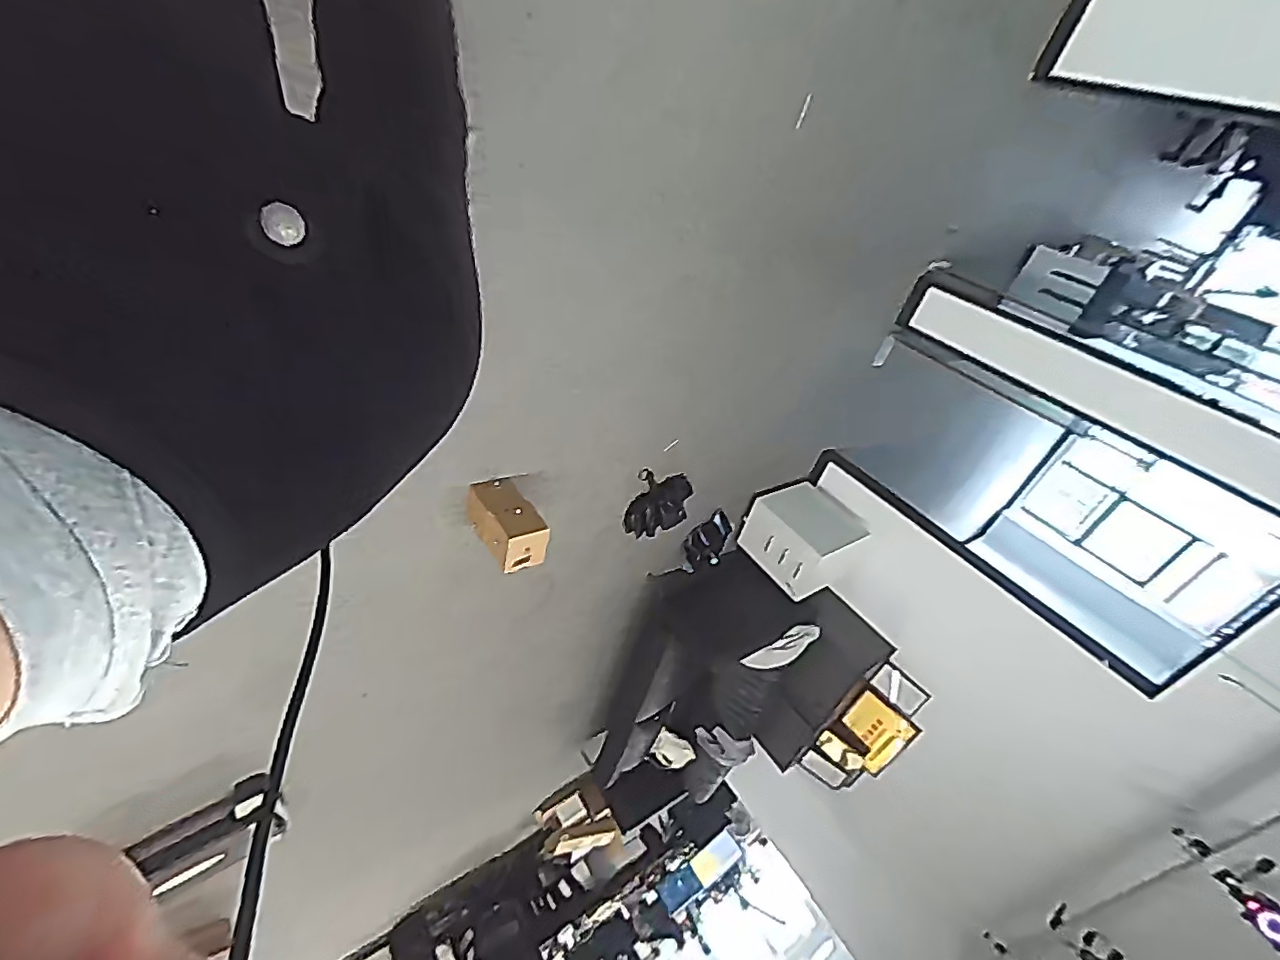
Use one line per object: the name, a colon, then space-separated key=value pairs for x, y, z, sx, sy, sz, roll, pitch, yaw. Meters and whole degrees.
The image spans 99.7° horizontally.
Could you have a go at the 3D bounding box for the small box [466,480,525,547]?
small box: x=-0.564 y=0.125 z=2.103 sx=0.168 sy=0.176 sz=0.179 roll=-16 pitch=135 yaw=-37

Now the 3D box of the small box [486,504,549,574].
small box: x=-0.461 y=0.215 z=2.013 sx=0.168 sy=0.176 sz=0.179 roll=-14 pitch=134 yaw=-38
